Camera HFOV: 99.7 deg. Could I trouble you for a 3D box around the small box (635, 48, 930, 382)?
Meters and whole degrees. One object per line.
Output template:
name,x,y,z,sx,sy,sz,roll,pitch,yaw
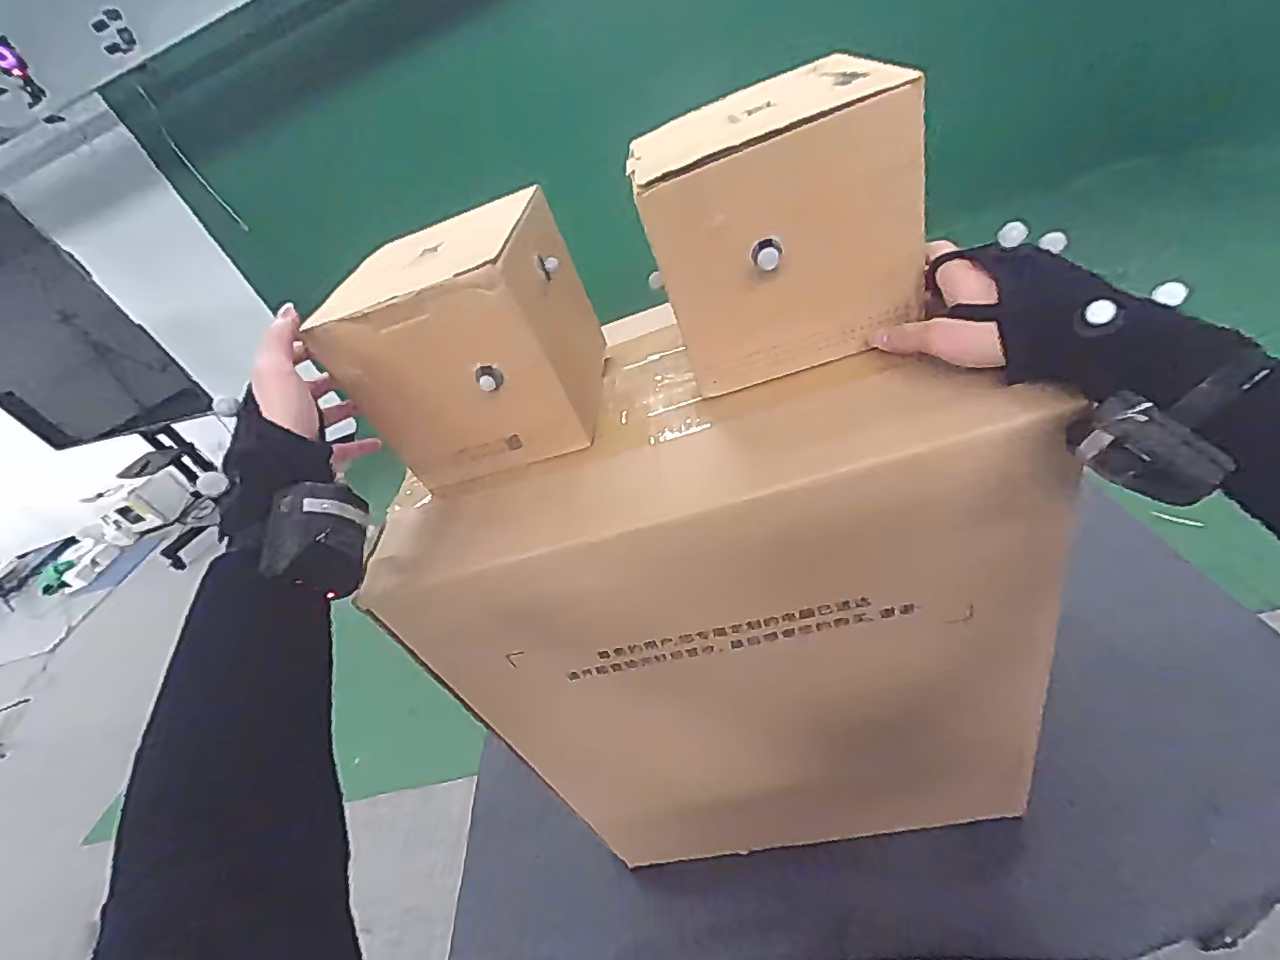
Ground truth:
small box,0.107,-0.202,0.426,0.179,0.176,0.168,-17,39,11

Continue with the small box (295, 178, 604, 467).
small box,-0.138,-0.128,0.470,0.168,0.176,0.179,-13,39,12
